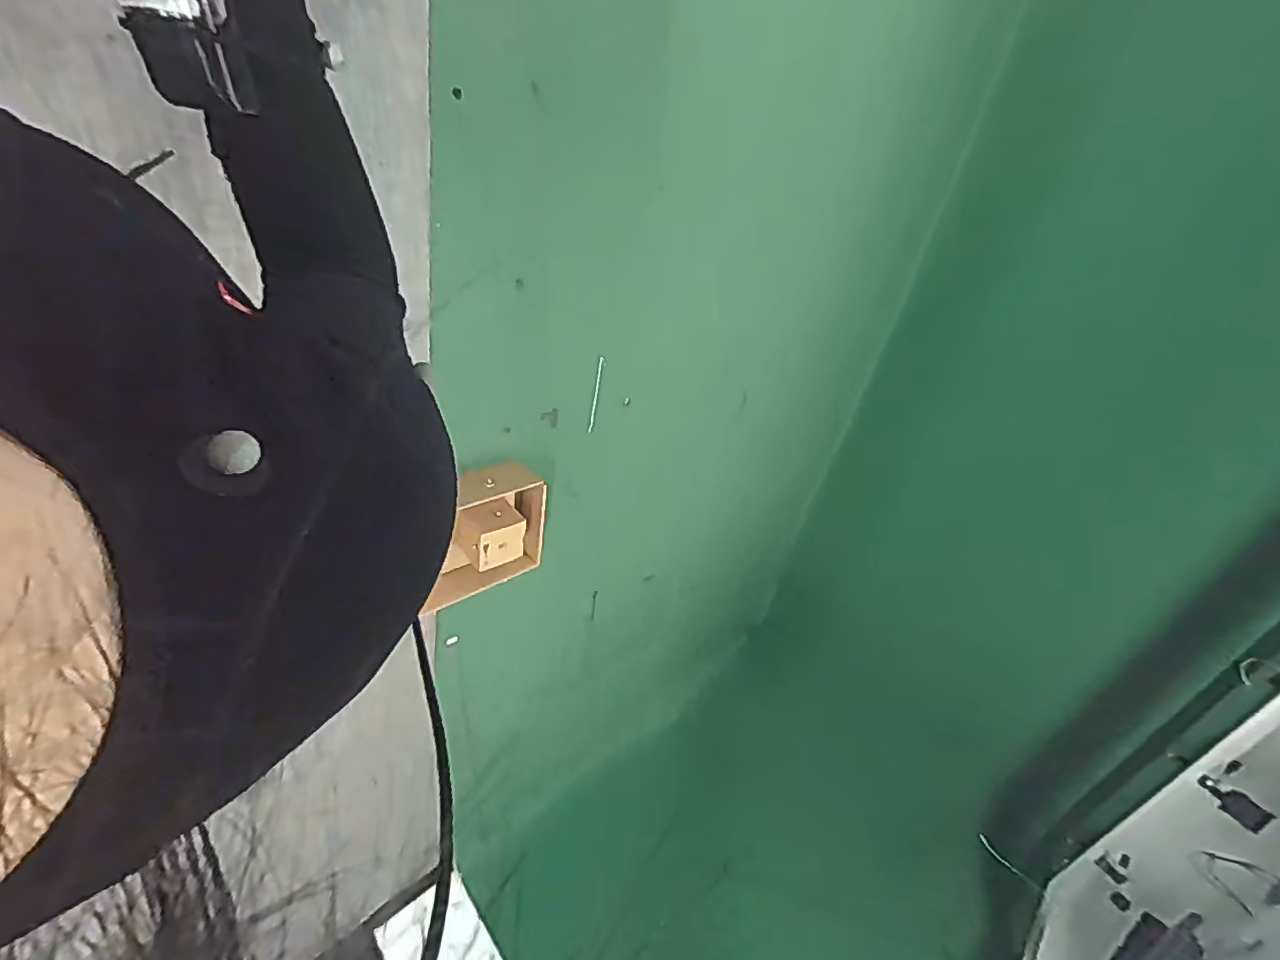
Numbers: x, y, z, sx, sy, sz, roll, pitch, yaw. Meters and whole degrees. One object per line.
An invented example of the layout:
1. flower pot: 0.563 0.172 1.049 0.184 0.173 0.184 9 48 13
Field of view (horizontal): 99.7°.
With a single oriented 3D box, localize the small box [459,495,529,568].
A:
1. small box: -0.513 0.174 1.898 0.179 0.176 0.168 -18 134 -39
